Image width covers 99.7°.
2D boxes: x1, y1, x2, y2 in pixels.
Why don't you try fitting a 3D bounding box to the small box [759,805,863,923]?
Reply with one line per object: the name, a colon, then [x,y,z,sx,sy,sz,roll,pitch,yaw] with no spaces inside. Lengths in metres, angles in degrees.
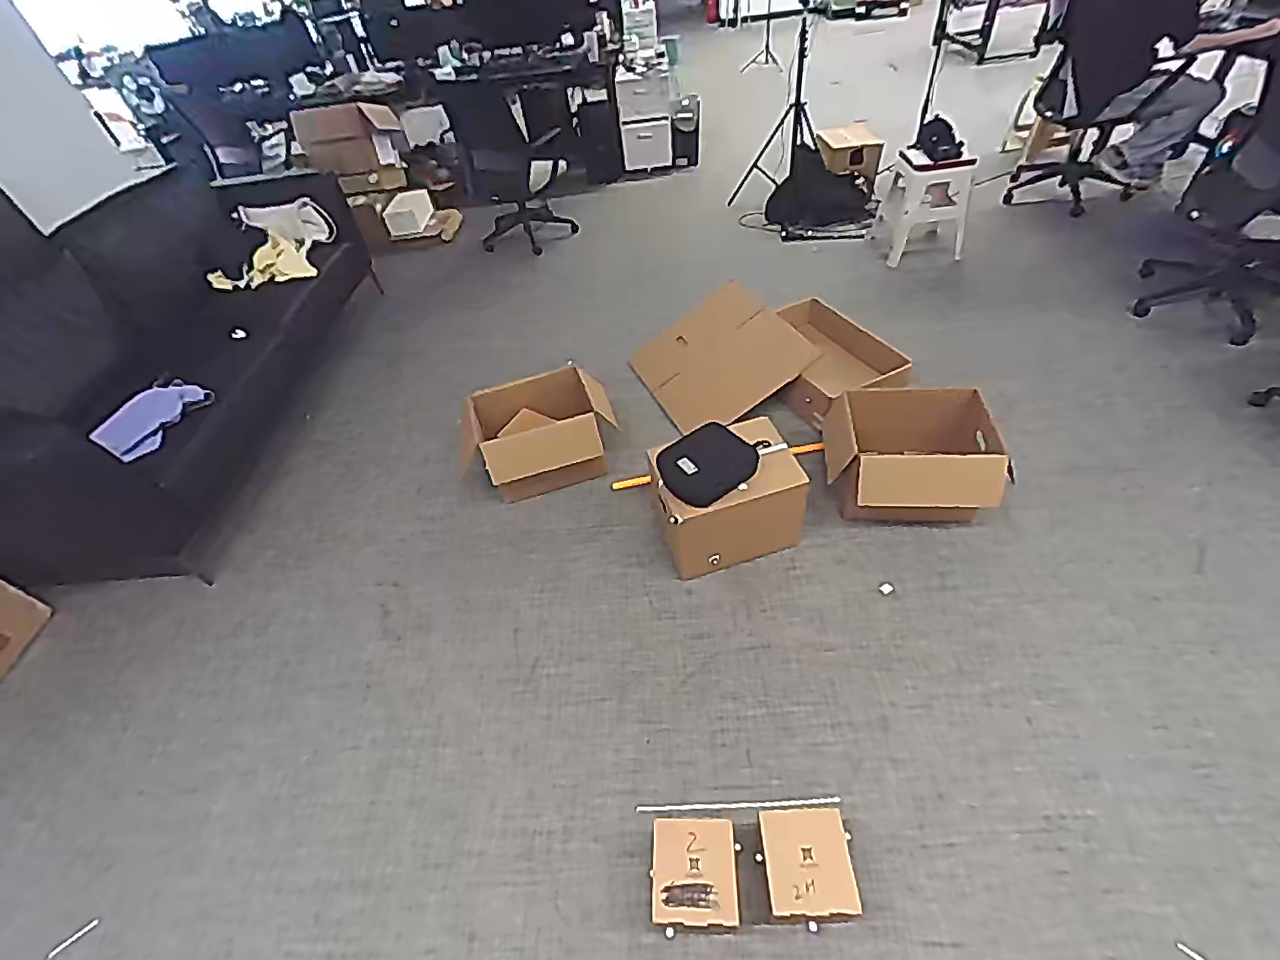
small box: [0.341,0.795,1.118,0.168,0.176,0.179,-6,47,5]
